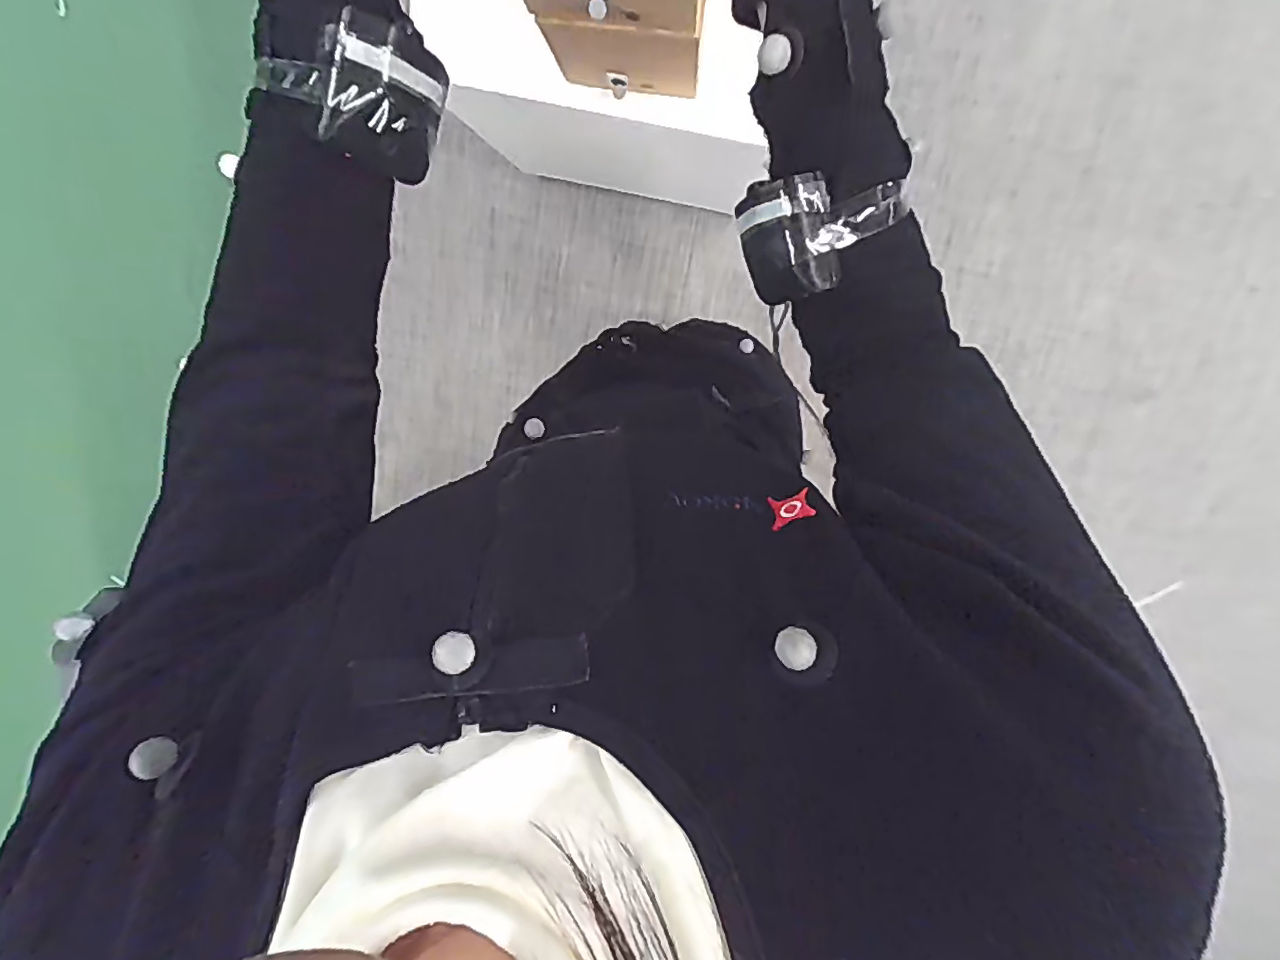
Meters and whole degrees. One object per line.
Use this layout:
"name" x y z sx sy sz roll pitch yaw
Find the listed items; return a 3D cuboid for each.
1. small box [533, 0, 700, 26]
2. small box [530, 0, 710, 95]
"small box" -0.026 -0.495 0.408 0.168 0.176 0.179 6 107 4
"small box" -0.009 -0.540 0.565 0.168 0.176 0.179 8 110 4
